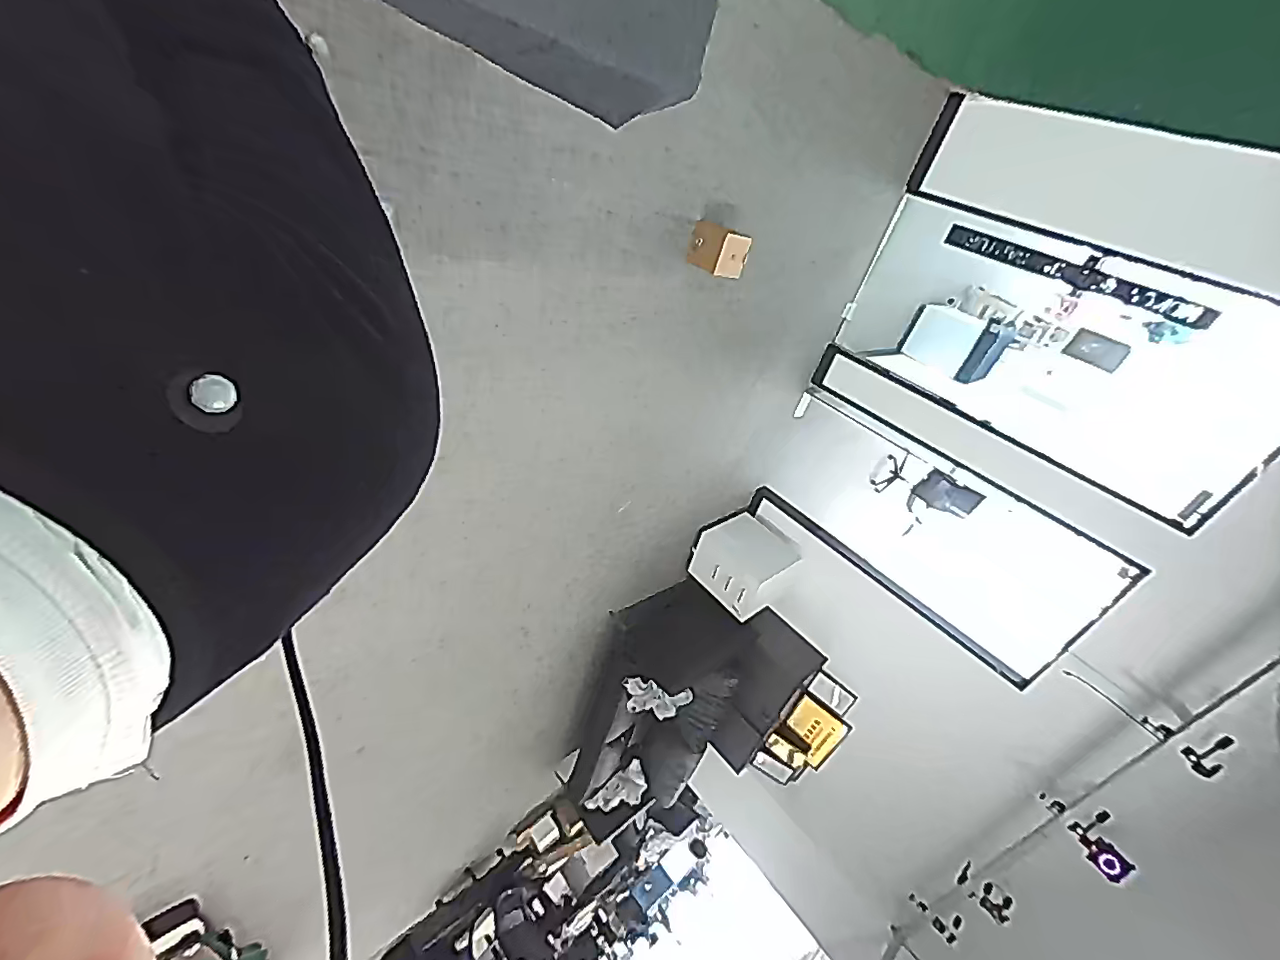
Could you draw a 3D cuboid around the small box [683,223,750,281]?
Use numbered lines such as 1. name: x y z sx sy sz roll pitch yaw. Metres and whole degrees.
1. small box: 0.309 -0.932 2.208 0.179 0.176 0.168 -12 131 -45
